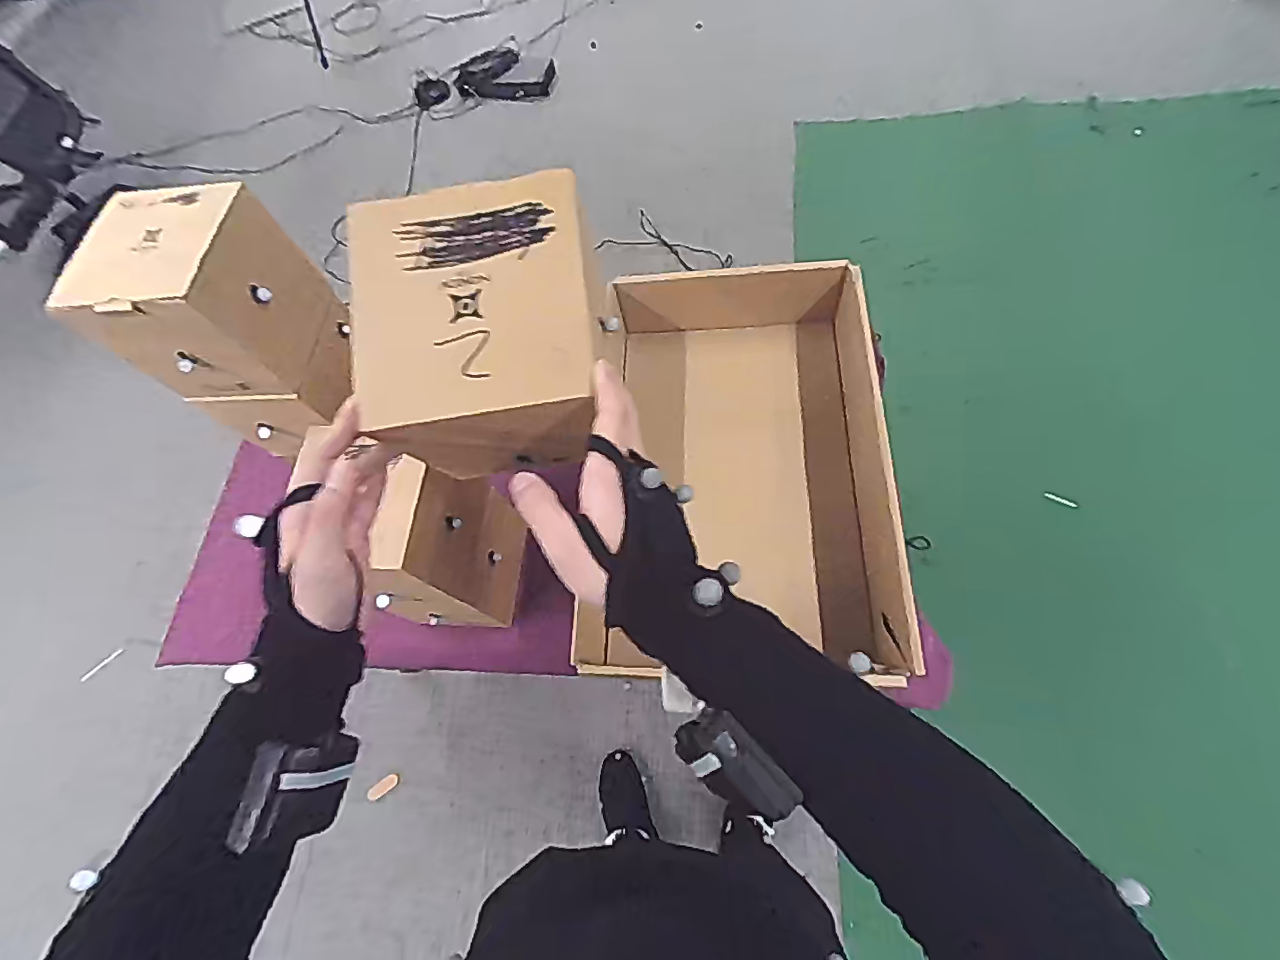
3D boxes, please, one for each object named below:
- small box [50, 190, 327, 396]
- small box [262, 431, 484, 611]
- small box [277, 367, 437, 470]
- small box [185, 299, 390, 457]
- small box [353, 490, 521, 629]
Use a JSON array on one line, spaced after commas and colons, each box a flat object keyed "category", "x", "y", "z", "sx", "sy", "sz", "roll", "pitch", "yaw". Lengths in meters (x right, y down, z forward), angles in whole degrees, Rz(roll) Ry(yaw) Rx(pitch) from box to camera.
[{"category": "small box", "x": -0.519, "y": -0.214, "z": 0.656, "sx": 0.168, "sy": 0.176, "sz": 0.179, "roll": 0, "pitch": 65, "yaw": 6}, {"category": "small box", "x": -0.312, "y": 0.056, "z": 0.678, "sx": 0.168, "sy": 0.176, "sz": 0.179, "roll": 1, "pitch": 65, "yaw": 8}, {"category": "small box", "x": -0.480, "y": -0.077, "z": 0.949, "sx": 0.168, "sy": 0.176, "sz": 0.179, "roll": 0, "pitch": 65, "yaw": 7}, {"category": "small box", "x": -0.501, "y": -0.140, "z": 0.802, "sx": 0.168, "sy": 0.176, "sz": 0.179, "roll": 0, "pitch": 65, "yaw": 7}, {"category": "small box", "x": -0.293, "y": 0.125, "z": 0.825, "sx": 0.168, "sy": 0.176, "sz": 0.179, "roll": 1, "pitch": 65, "yaw": 8}]
